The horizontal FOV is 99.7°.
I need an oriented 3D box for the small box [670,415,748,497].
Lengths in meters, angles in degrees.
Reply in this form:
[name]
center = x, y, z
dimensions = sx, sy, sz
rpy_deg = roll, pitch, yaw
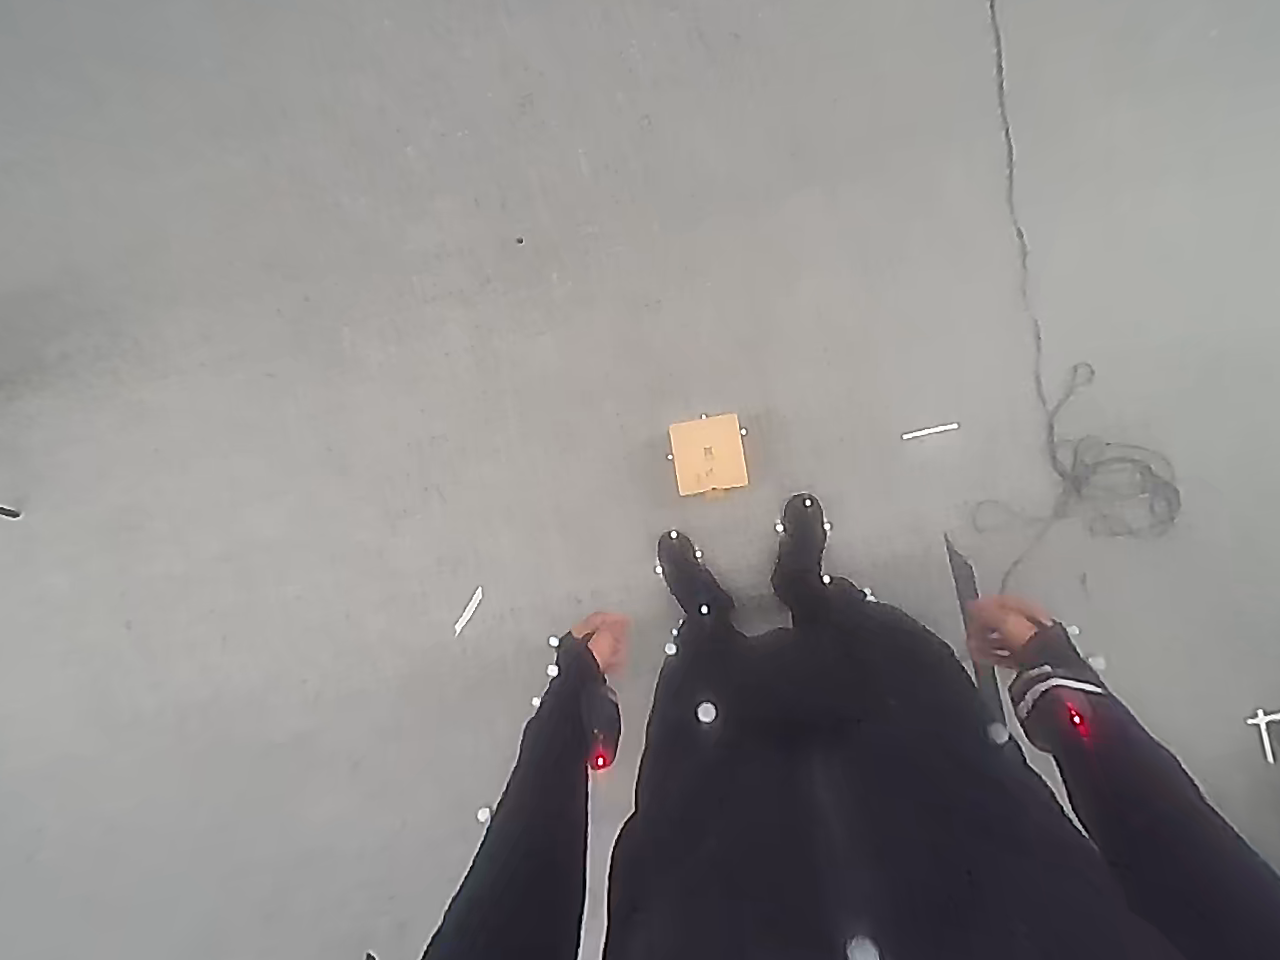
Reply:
[small box]
center = 0.169, -0.057, 1.352
dimensions = 0.168, 0.176, 0.179
rpy_deg = -9, 91, 7
